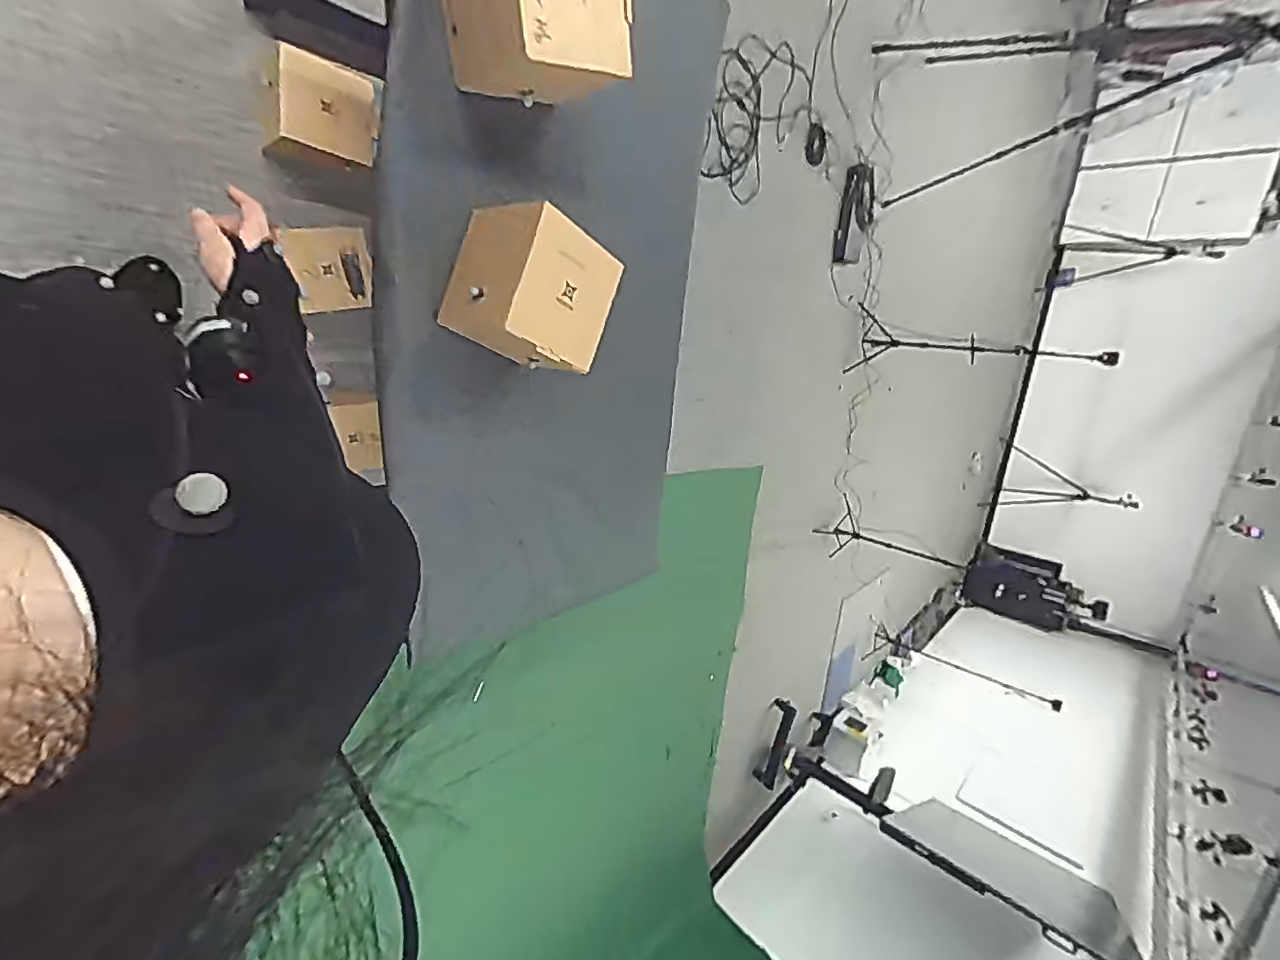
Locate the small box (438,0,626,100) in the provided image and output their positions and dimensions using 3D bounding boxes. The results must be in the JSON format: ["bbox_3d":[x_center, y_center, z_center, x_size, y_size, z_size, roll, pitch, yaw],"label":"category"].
[{"bbox_3d":[-0.140,-0.609,0.696,0.179,0.176,0.168,-26,122,-40],"label":"small box"}]

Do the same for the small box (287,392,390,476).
[{"bbox_3d":[-0.742,-0.119,1.325,0.179,0.176,0.168,-16,116,-44],"label":"small box"}]

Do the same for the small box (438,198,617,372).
[{"bbox_3d":[-0.167,-0.275,0.789,0.168,0.176,0.179,19,88,-53],"label":"small box"}]

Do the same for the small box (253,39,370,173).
[{"bbox_3d":[-0.697,-0.772,1.142,0.179,0.176,0.168,-5,107,-48],"label":"small box"}]
